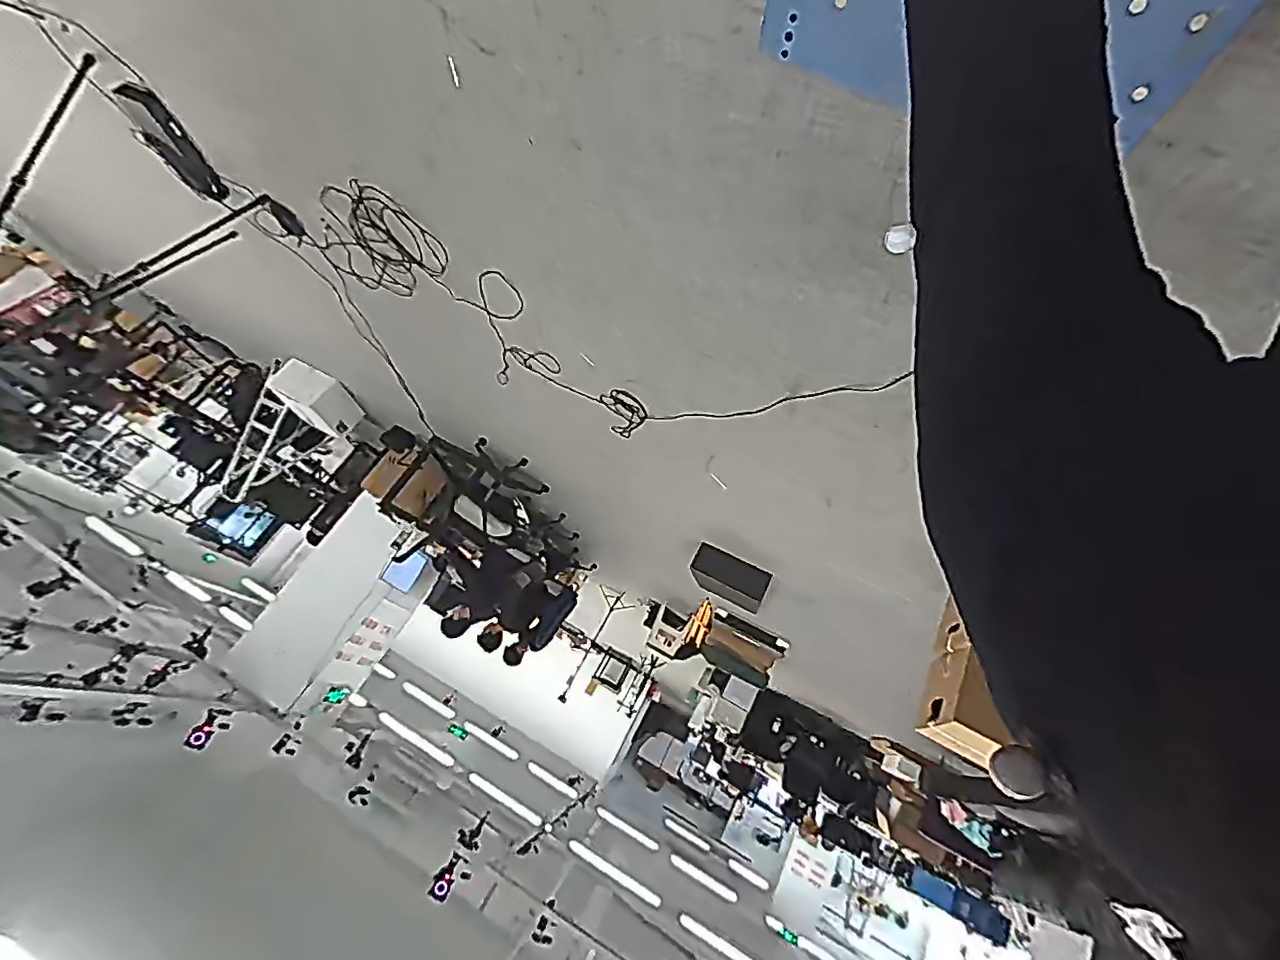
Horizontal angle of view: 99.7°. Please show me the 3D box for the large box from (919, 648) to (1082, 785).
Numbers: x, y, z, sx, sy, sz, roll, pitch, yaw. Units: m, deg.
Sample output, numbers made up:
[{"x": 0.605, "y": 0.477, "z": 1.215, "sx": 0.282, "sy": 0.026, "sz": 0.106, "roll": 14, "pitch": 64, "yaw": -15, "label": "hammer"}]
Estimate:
[{"x": 1.367, "y": 0.905, "z": 2.072, "sx": 0.408, "sy": 0.320, "sz": 0.320, "roll": 26, "pitch": 153, "yaw": 13, "label": "large box"}]
